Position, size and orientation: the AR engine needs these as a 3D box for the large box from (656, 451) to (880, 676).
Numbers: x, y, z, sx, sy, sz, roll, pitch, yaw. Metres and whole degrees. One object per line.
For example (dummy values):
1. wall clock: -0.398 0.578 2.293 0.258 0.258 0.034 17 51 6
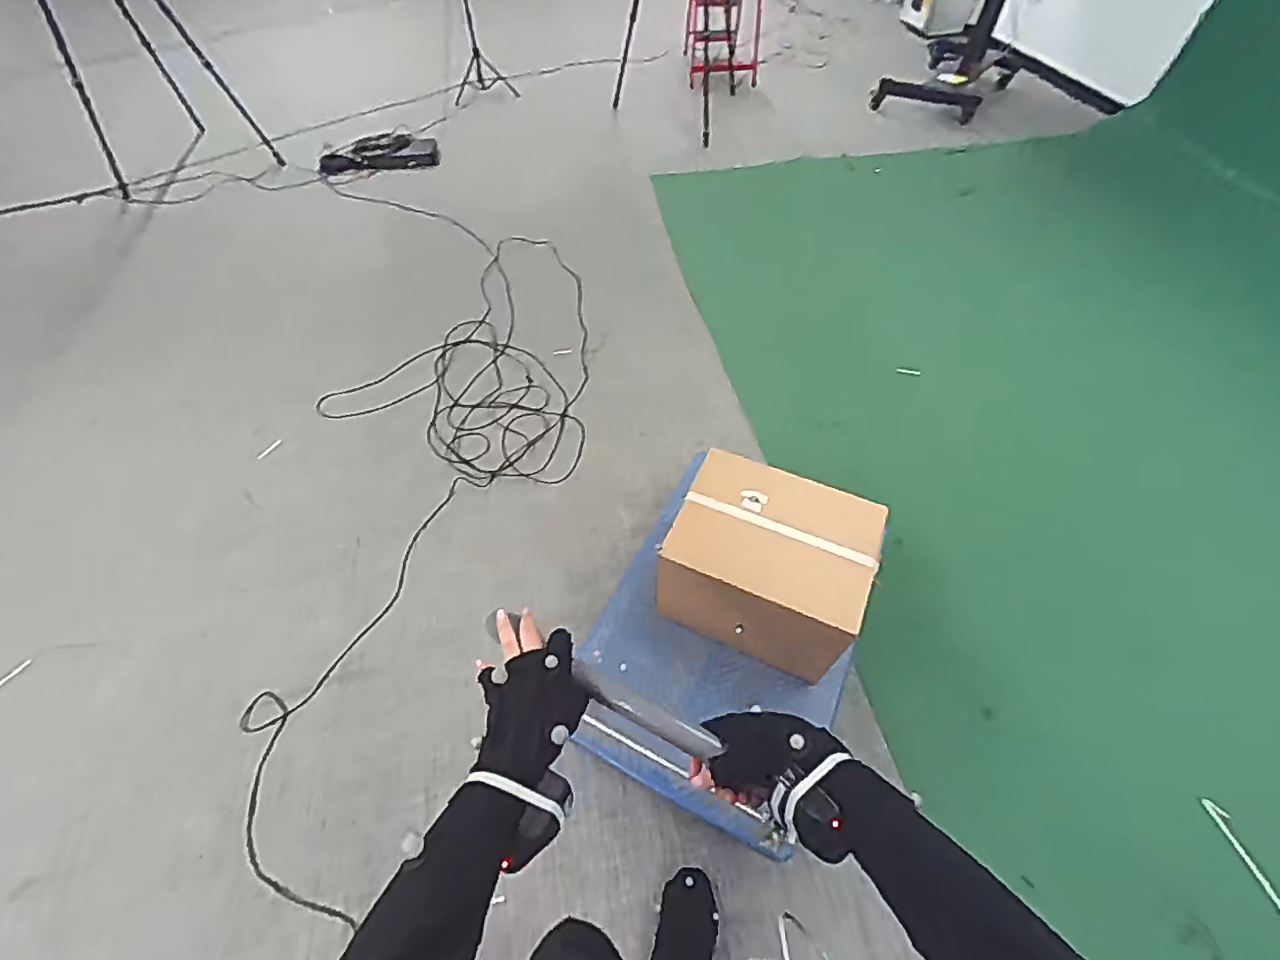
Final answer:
1. large box: 0.280 0.194 1.247 0.408 0.320 0.320 20 55 15
